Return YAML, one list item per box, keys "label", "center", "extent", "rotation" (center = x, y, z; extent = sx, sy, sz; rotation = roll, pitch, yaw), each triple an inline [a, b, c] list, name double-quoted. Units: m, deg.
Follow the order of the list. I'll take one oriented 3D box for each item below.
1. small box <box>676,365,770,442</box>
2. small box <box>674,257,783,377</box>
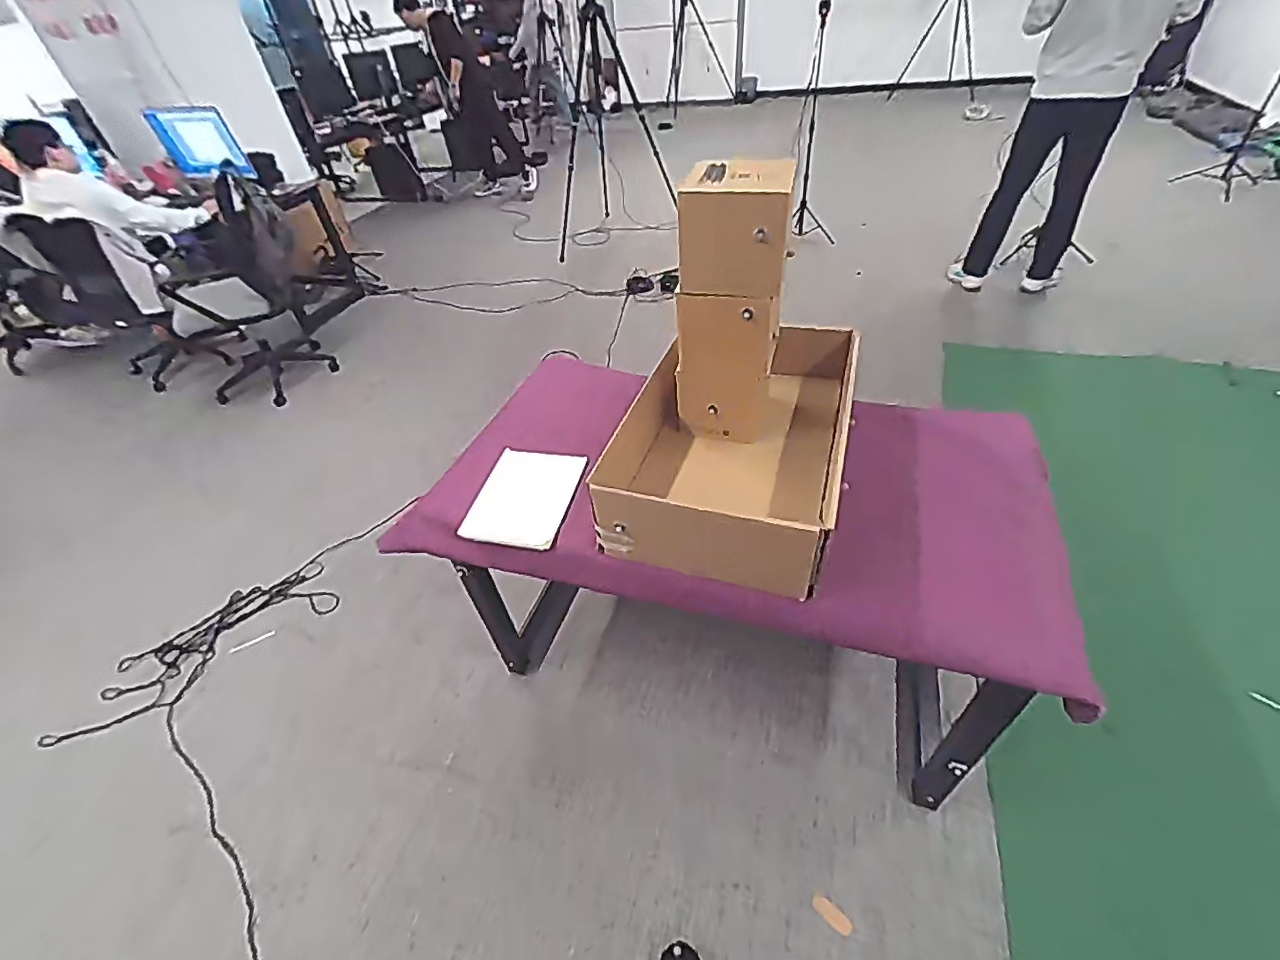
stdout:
- label: "small box"
  center: [0.185, -0.202, 1.165]
  extent: [0.168, 0.176, 0.179]
  rotation: [11, 47, 18]
- label: "small box"
  center: [0.173, -0.315, 1.049]
  extent: [0.179, 0.176, 0.168]
  rotation: [9, 47, 16]
